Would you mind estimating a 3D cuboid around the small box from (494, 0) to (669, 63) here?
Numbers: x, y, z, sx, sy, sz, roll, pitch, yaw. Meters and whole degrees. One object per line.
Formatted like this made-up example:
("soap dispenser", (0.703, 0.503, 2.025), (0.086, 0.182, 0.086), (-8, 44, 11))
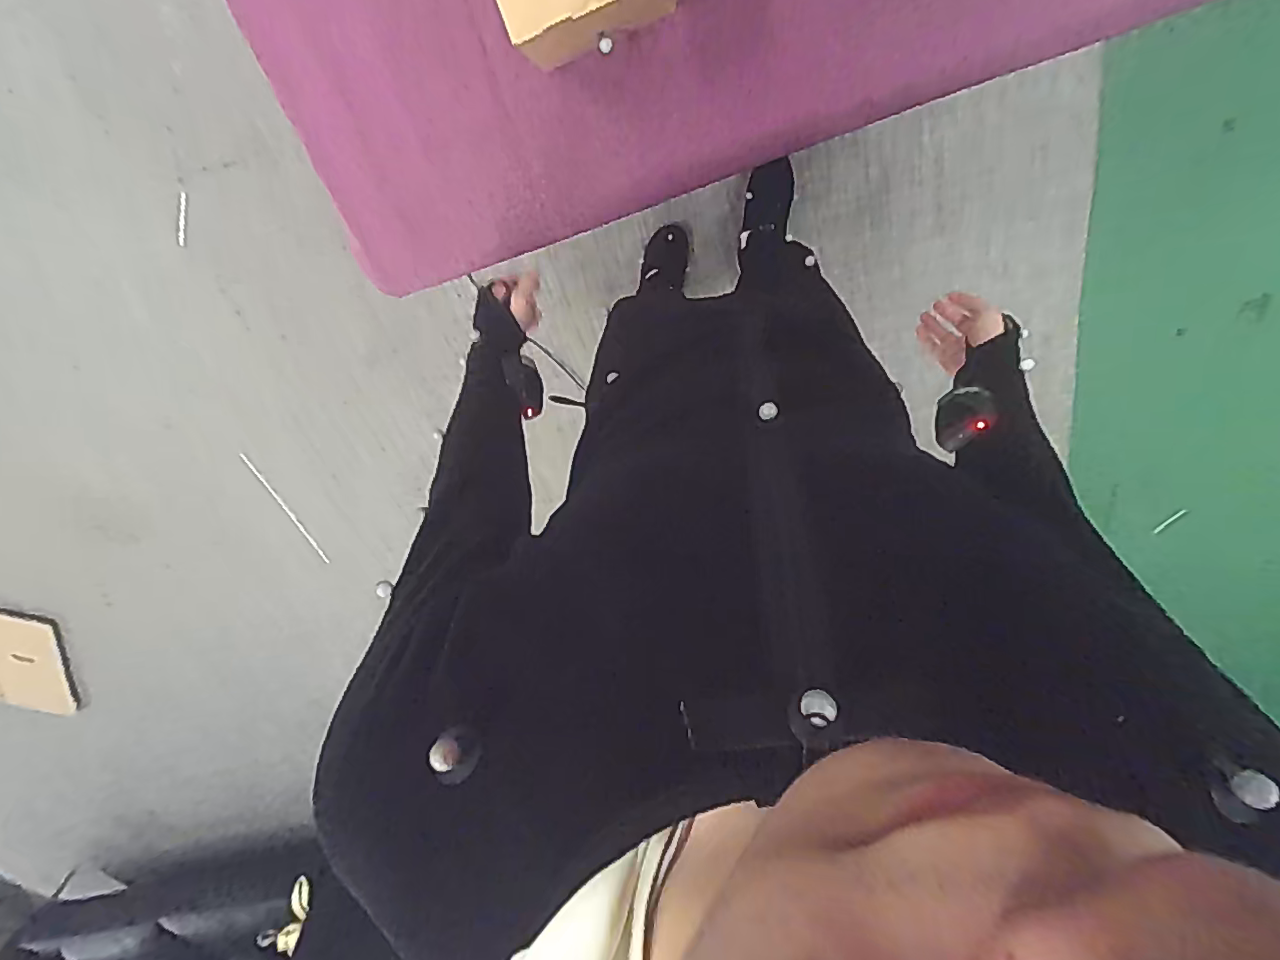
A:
("small box", (-0.070, -0.535, 0.508), (0.168, 0.176, 0.179), (-16, 119, 11))
